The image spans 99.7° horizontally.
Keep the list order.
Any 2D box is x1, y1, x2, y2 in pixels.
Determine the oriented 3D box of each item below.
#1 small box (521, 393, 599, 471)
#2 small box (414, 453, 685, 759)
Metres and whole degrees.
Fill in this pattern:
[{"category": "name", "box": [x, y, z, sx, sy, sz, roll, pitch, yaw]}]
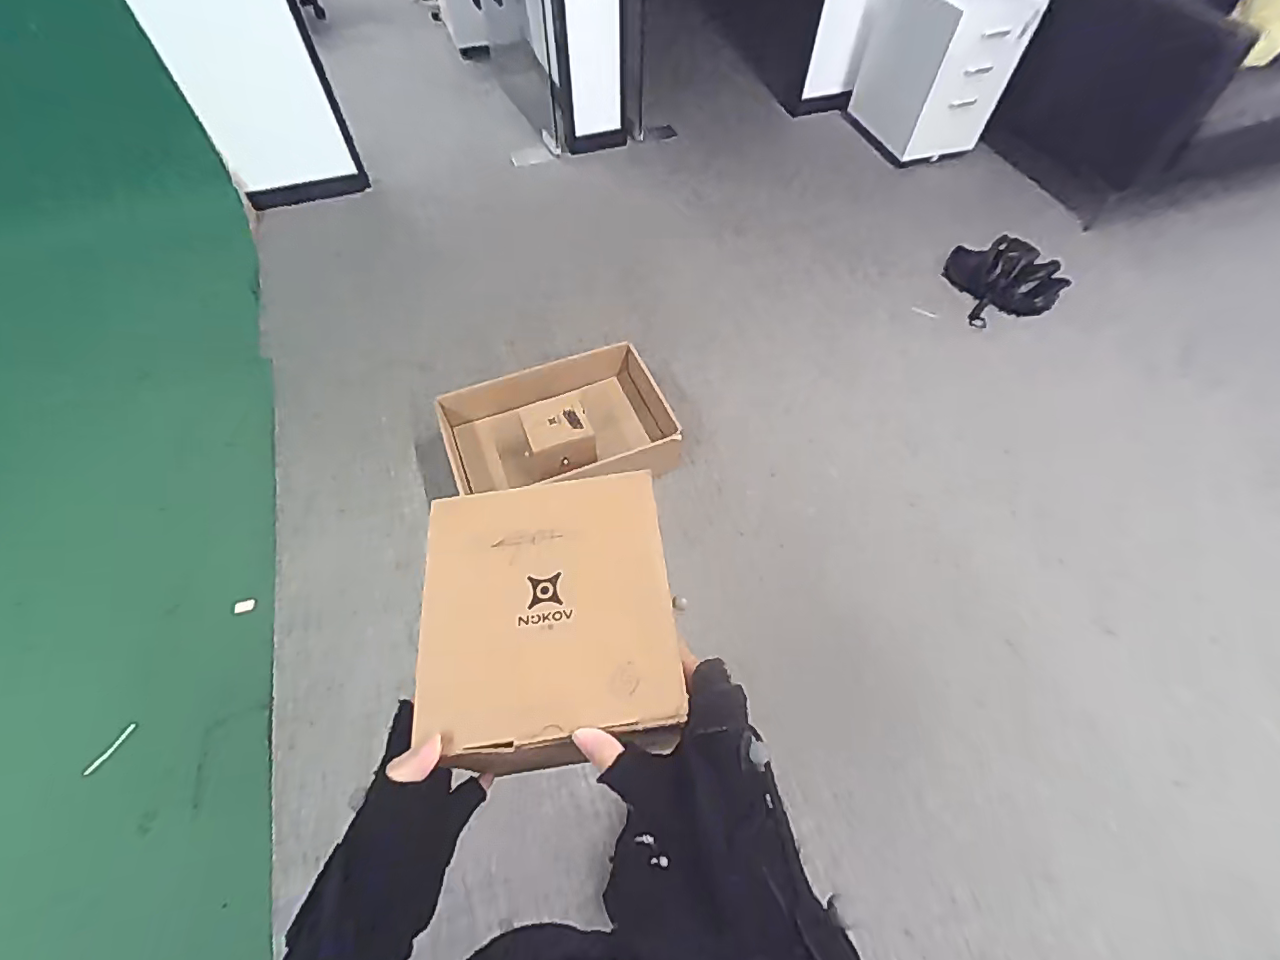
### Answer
[{"category": "small box", "box": [-0.224, -0.117, 1.554, 0.179, 0.176, 0.168, -20, 59, -10]}, {"category": "small box", "box": [-0.061, 0.108, 0.426, 0.168, 0.176, 0.179, -12, 61, -2]}]
